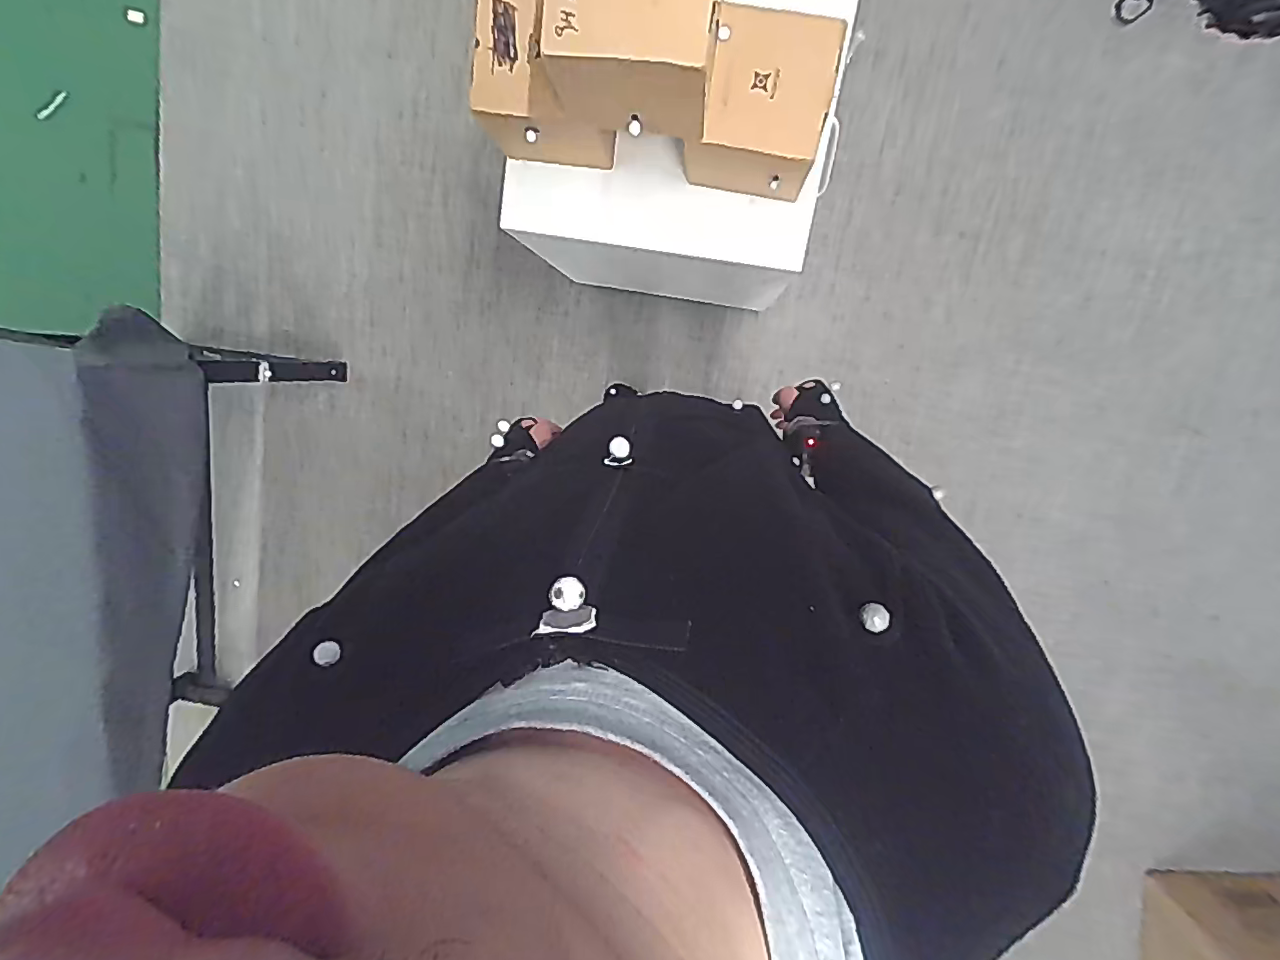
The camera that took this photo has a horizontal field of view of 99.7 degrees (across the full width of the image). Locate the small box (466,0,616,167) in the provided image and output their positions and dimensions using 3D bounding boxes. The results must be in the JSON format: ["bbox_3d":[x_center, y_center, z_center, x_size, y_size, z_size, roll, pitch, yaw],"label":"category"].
[{"bbox_3d":[-0.128,-0.575,0.777,0.179,0.176,0.168,9,102,3],"label":"small box"}]

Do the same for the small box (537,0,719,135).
[{"bbox_3d":[-0.003,-0.516,0.608,0.179,0.176,0.168,8,101,3],"label":"small box"}]

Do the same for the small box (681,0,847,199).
[{"bbox_3d":[0.164,-0.514,0.757,0.179,0.176,0.168,12,101,6],"label":"small box"}]
